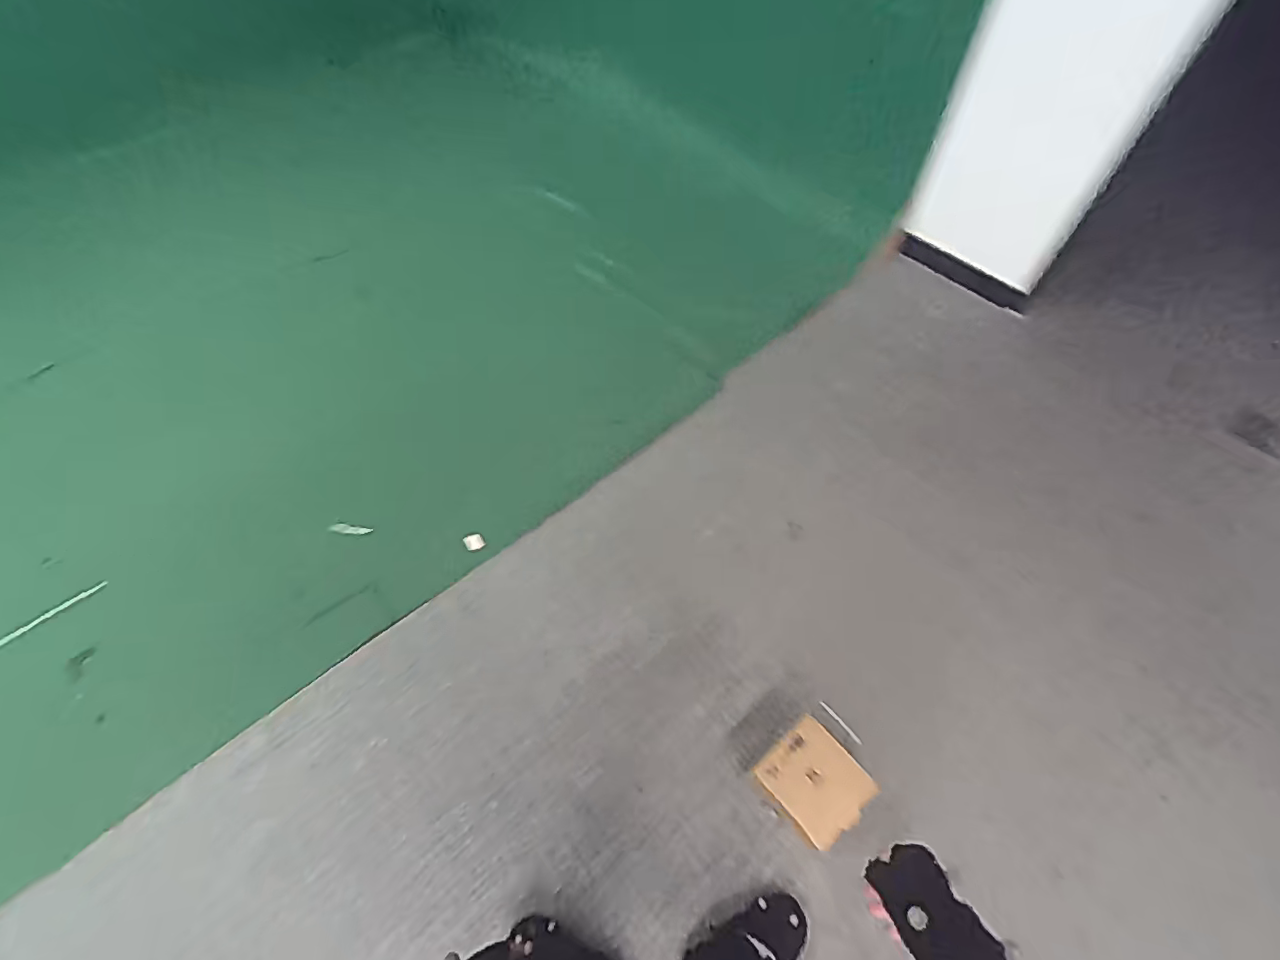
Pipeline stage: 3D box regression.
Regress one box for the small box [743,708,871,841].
[{"bbox_3d":[0.337,0.606,1.126,0.168,0.176,0.179,-36,64,-16],"label":"small box"}]
